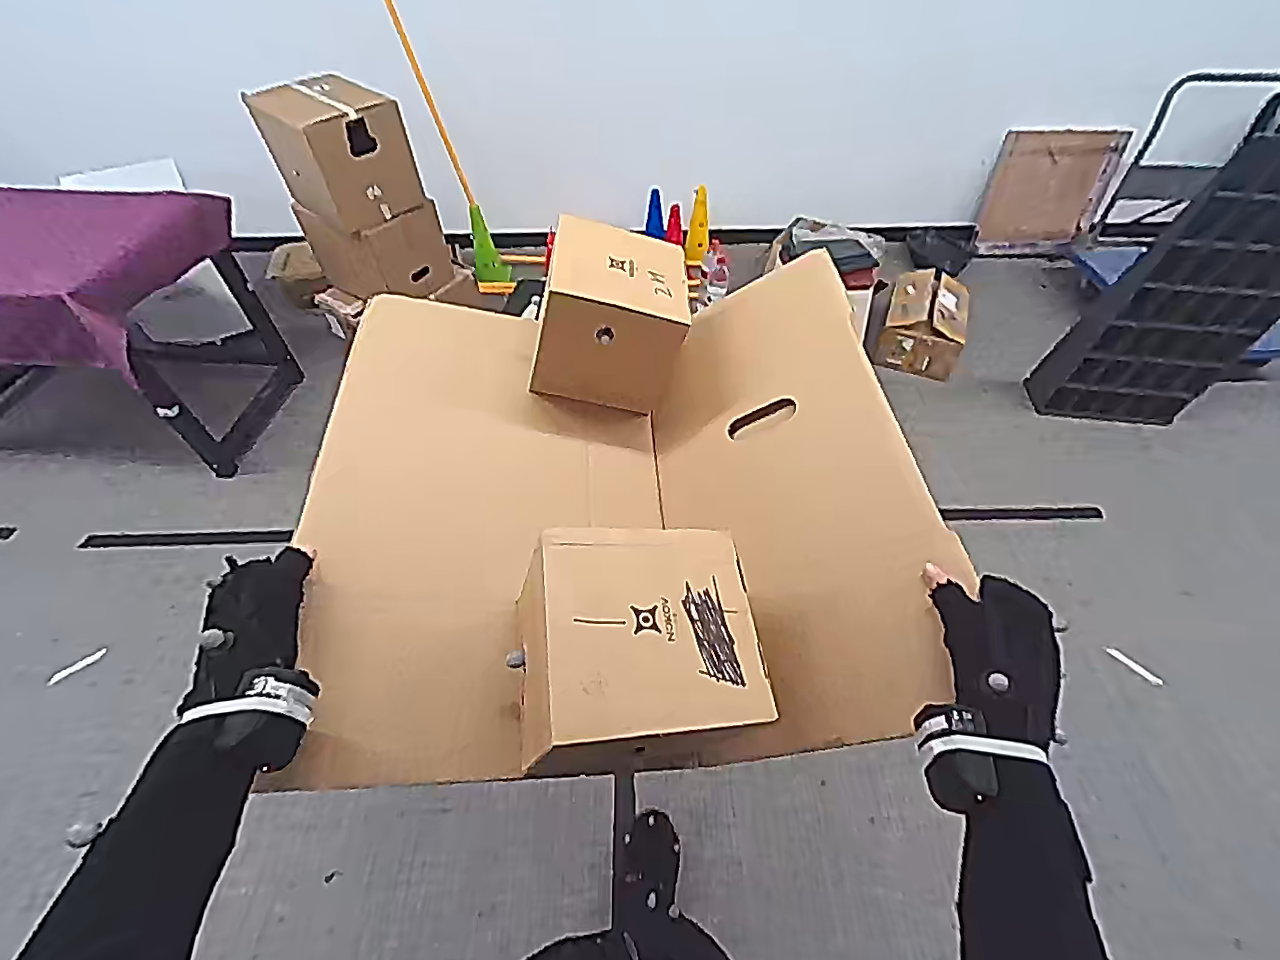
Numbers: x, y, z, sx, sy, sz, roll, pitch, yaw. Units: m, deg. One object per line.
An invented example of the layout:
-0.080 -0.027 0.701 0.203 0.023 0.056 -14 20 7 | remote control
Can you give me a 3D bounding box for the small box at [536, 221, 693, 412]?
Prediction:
-0.040 -0.215 0.743 0.179 0.176 0.168 11 54 -14 | small box
